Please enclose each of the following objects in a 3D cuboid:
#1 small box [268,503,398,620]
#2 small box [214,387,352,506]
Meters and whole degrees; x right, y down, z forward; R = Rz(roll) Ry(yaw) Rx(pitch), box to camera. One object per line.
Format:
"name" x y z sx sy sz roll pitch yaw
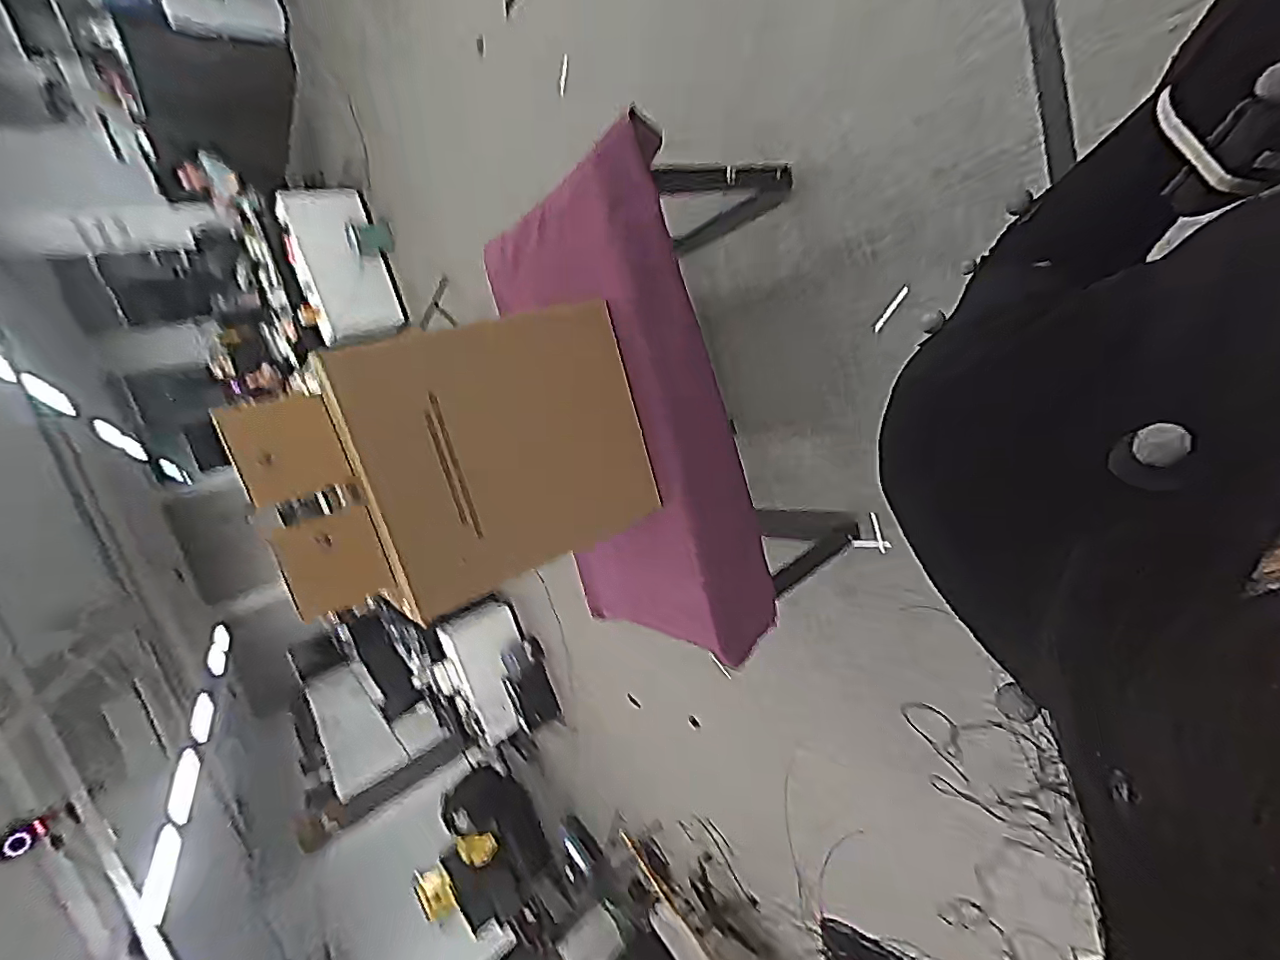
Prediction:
"small box" -0.604 0.149 1.066 0.168 0.176 0.179 -6 104 56
"small box" -0.673 -0.061 1.032 0.168 0.176 0.179 -6 105 54
